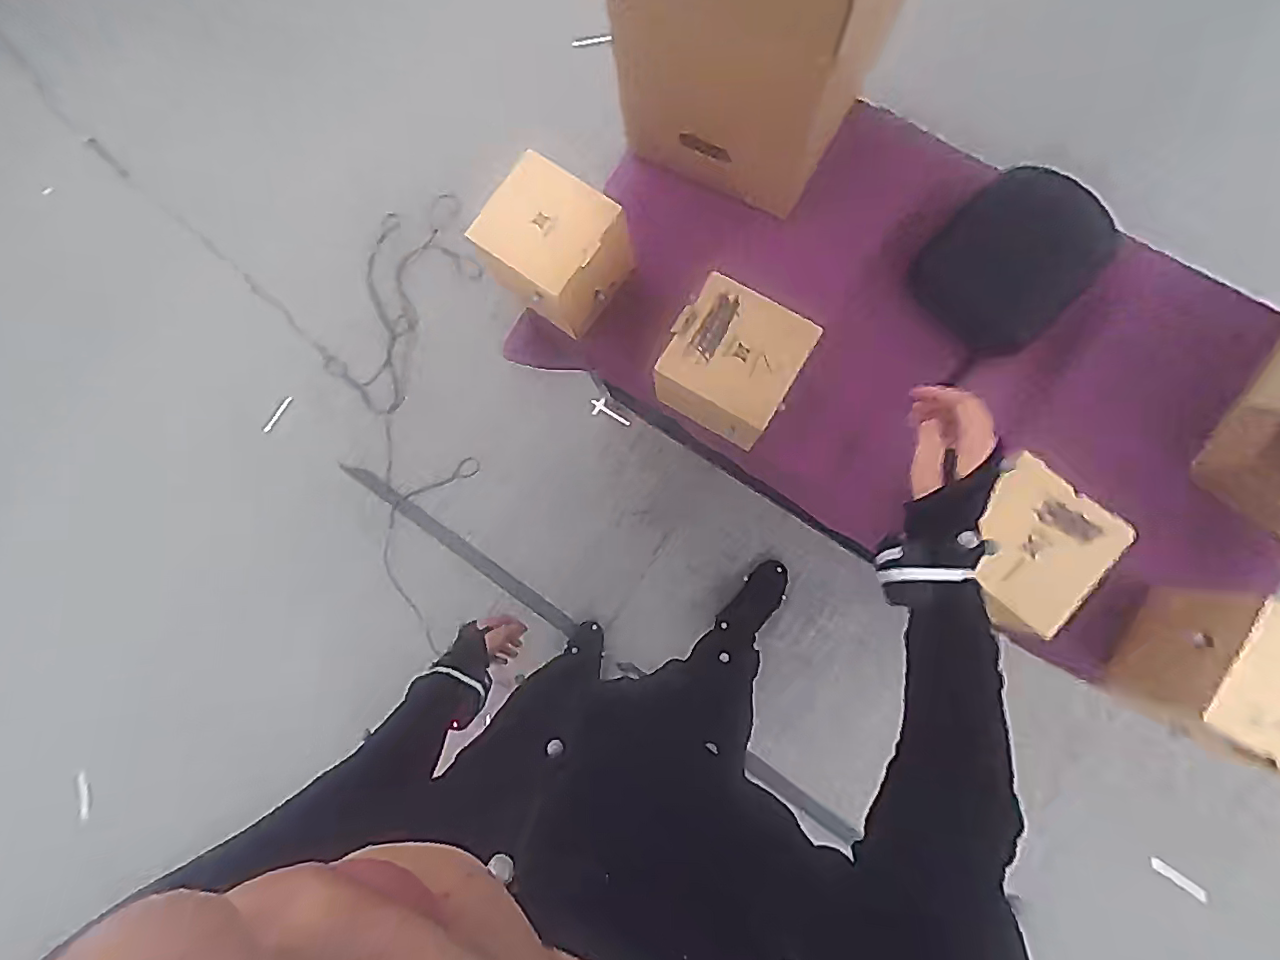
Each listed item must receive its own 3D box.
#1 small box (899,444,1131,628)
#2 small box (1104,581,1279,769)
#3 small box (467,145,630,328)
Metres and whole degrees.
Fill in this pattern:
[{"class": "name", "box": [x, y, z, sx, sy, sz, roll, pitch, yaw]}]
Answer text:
[{"class": "small box", "box": [0.505, 0.075, 0.762, 0.168, 0.176, 0.179, 40, 90, 7]}, {"class": "small box", "box": [0.785, 0.250, 0.719, 0.168, 0.176, 0.179, 33, 88, 8]}, {"class": "small box", "box": [-0.133, -0.371, 0.859, 0.179, 0.176, 0.168, 35, 88, 6]}]
